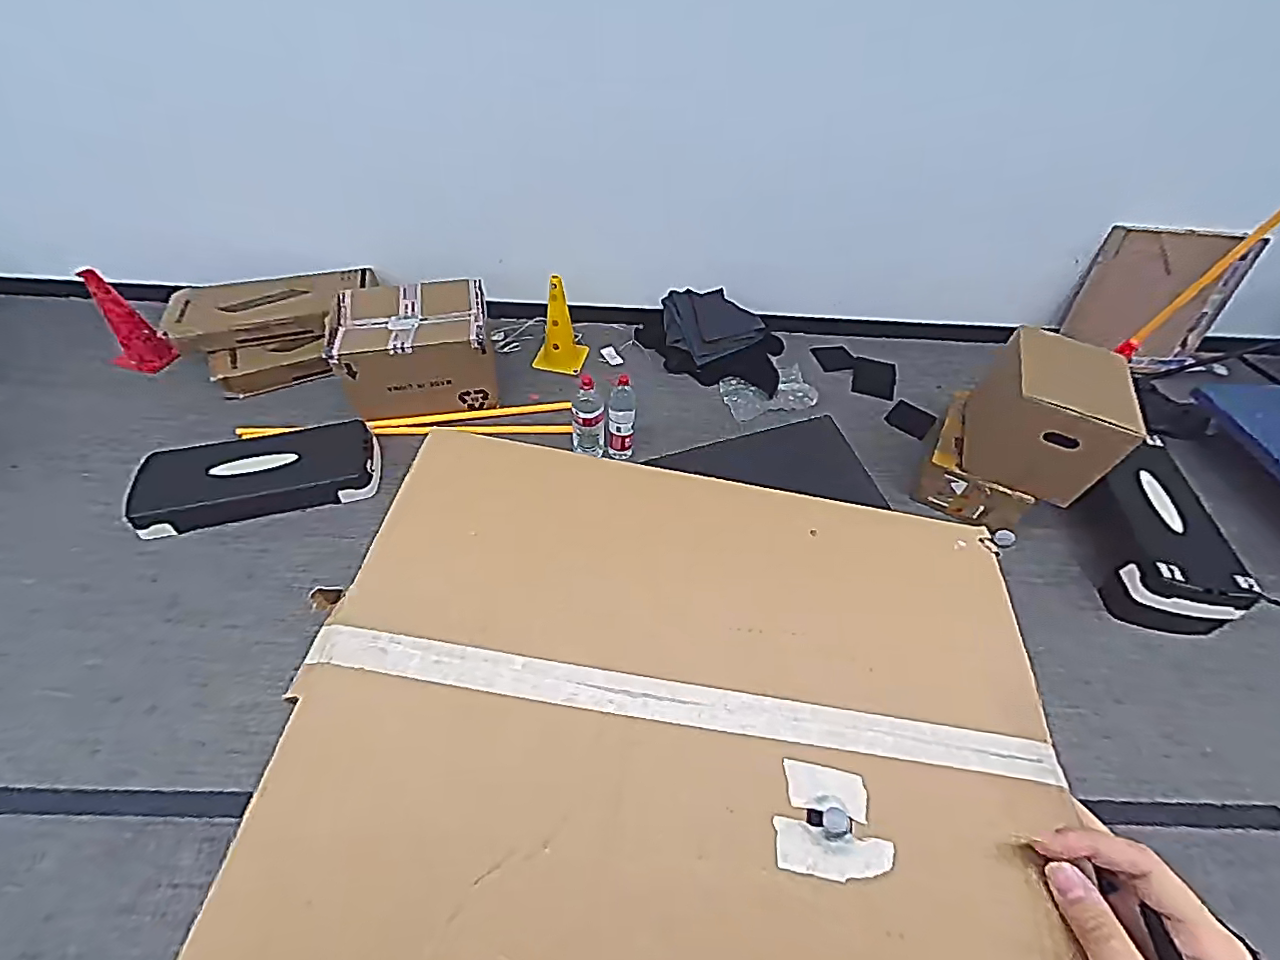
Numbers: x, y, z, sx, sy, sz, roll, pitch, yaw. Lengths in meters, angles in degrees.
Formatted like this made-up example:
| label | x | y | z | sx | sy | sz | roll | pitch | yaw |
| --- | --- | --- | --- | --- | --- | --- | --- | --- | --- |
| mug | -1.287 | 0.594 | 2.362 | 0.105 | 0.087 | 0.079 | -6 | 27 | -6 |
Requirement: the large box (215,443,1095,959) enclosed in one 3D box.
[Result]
| label | x | y | z | sx | sy | sz | roll | pitch | yaw |
| --- | --- | --- | --- | --- | --- | --- | --- | --- | --- |
| large box | 0.013 | 0.214 | 0.425 | 0.408 | 0.320 | 0.320 | 11 | 54 | -2 |
